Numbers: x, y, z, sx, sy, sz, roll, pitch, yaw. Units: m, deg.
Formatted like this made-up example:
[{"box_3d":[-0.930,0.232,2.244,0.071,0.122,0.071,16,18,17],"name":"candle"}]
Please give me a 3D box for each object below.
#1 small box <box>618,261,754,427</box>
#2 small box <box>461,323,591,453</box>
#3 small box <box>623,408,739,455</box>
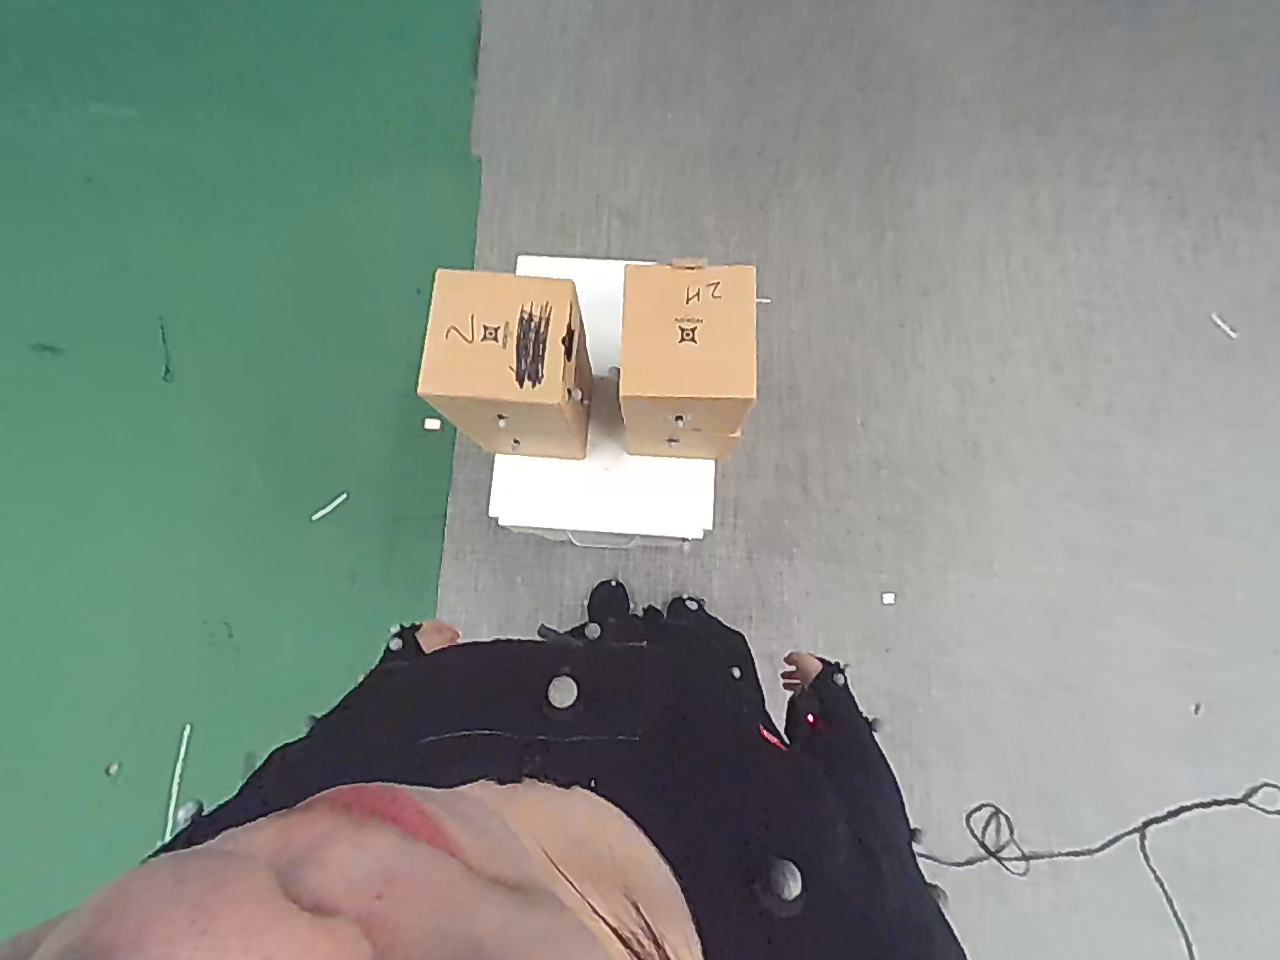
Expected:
[{"box_3d":[0.060,-0.175,0.743,0.168,0.176,0.179,2,80,1],"name":"small box"},{"box_3d":[-0.180,-0.145,0.905,0.179,0.176,0.168,4,81,-1],"name":"small box"},{"box_3d":[0.068,-0.142,0.904,0.179,0.176,0.168,4,80,1],"name":"small box"}]
